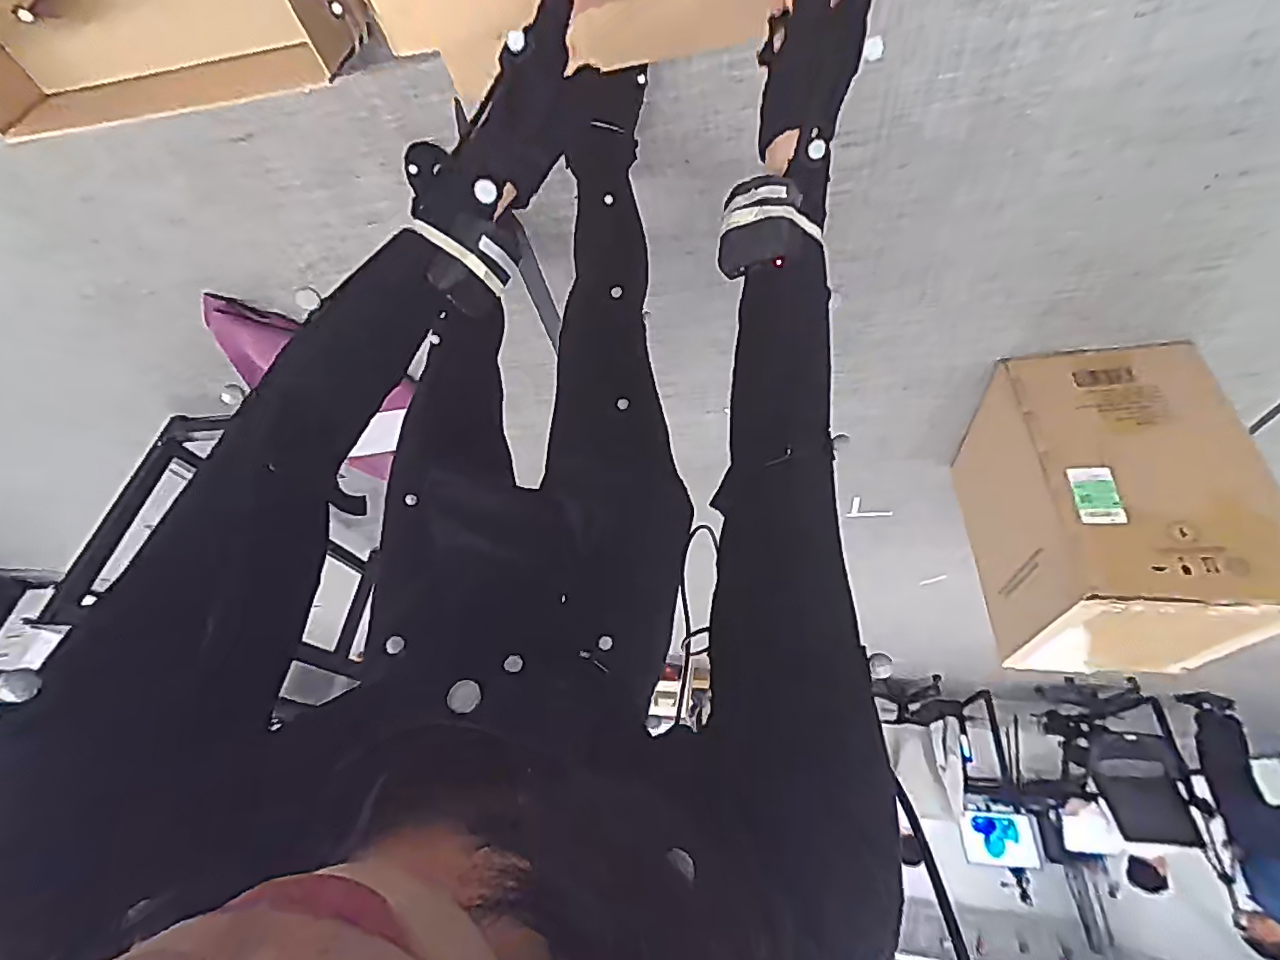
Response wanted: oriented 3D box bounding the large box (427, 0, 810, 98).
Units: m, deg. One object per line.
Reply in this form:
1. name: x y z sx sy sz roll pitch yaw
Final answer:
1. large box: -0.041 -0.682 0.567 0.408 0.320 0.320 -4 148 12
